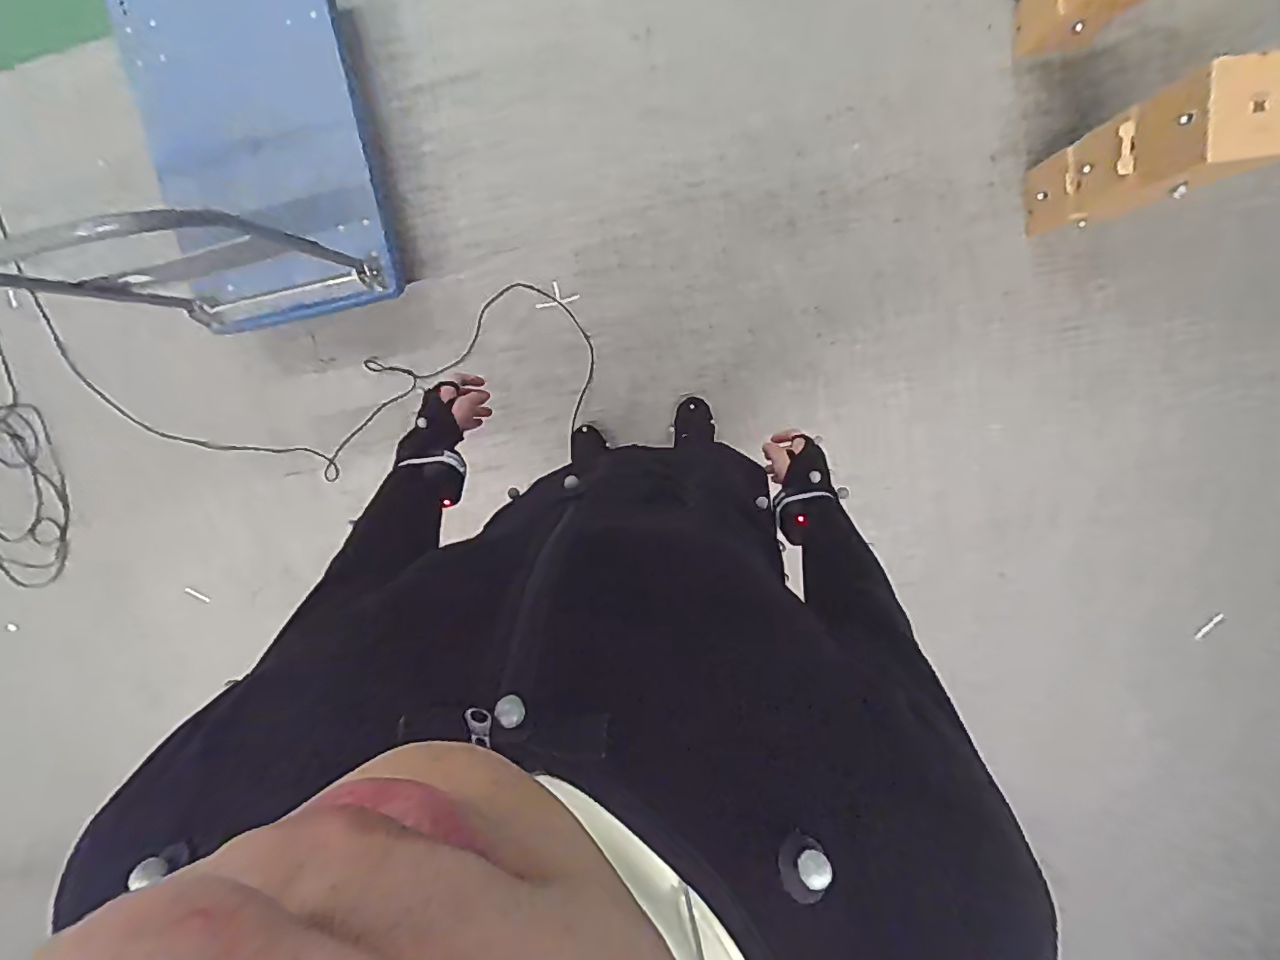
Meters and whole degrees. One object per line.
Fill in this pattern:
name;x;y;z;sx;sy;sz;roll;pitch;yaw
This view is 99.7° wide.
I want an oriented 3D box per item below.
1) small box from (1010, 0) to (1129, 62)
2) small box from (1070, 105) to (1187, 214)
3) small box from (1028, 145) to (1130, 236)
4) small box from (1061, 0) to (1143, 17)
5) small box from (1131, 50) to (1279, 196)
small box;1.039;-1.163;1.317;0.179;0.176;0.168;-5;100;4
small box;1.111;-0.709;1.200;0.179;0.176;0.168;-4;98;5
small box;1.112;-0.734;1.363;0.179;0.176;0.168;-8;99;6
small box;1.041;-1.132;1.140;0.179;0.176;0.168;-5;99;5
small box;1.100;-0.677;1.040;0.168;0.176;0.179;-4;99;5
